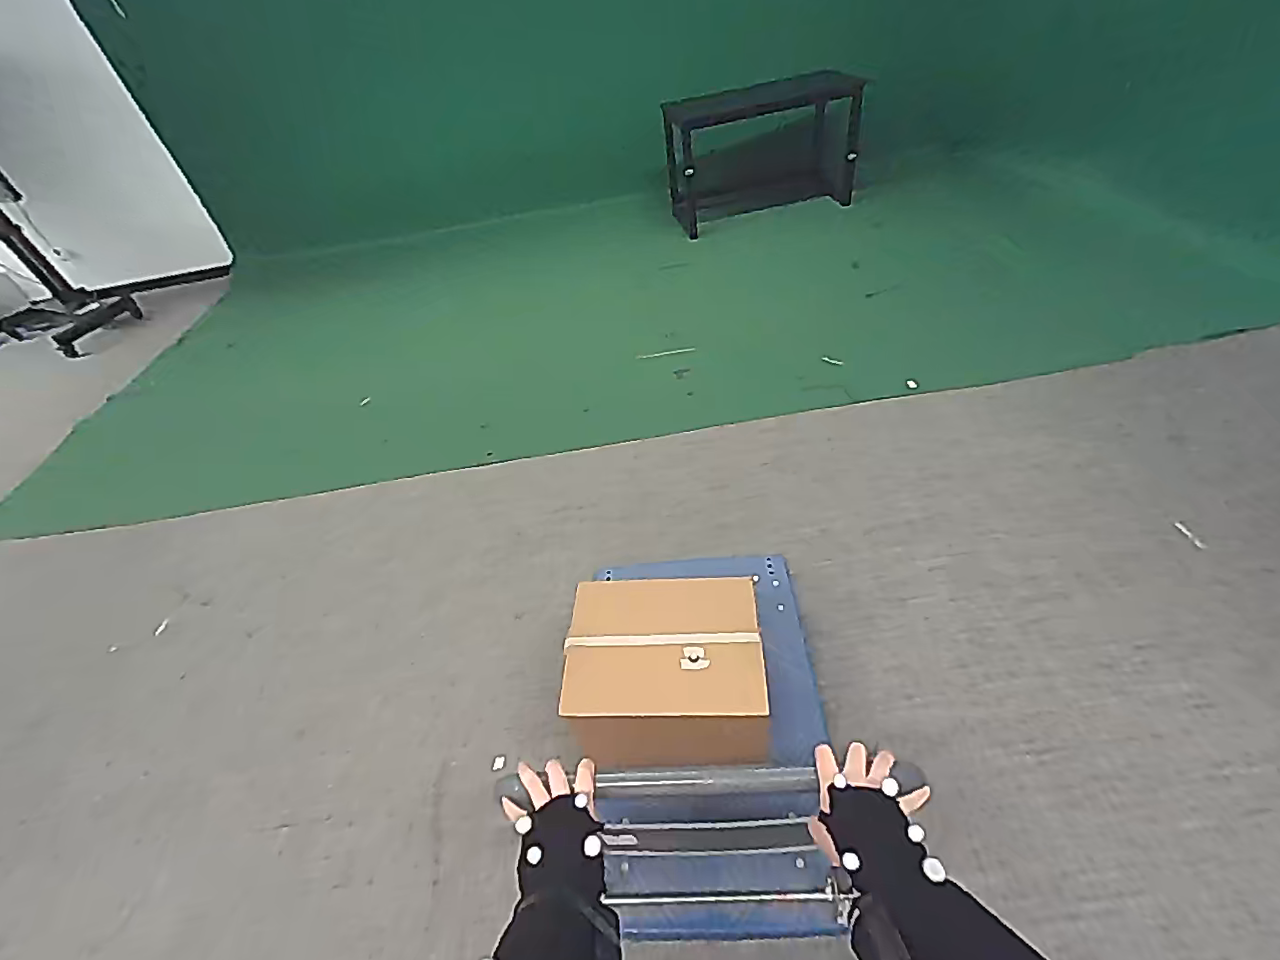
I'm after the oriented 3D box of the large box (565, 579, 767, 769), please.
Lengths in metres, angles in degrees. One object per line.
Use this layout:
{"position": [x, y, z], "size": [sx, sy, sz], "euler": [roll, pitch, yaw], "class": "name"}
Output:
{"position": [0.066, 0.452, 1.254], "size": [0.408, 0.320, 0.320], "euler": [-3, 44, 6], "class": "large box"}
